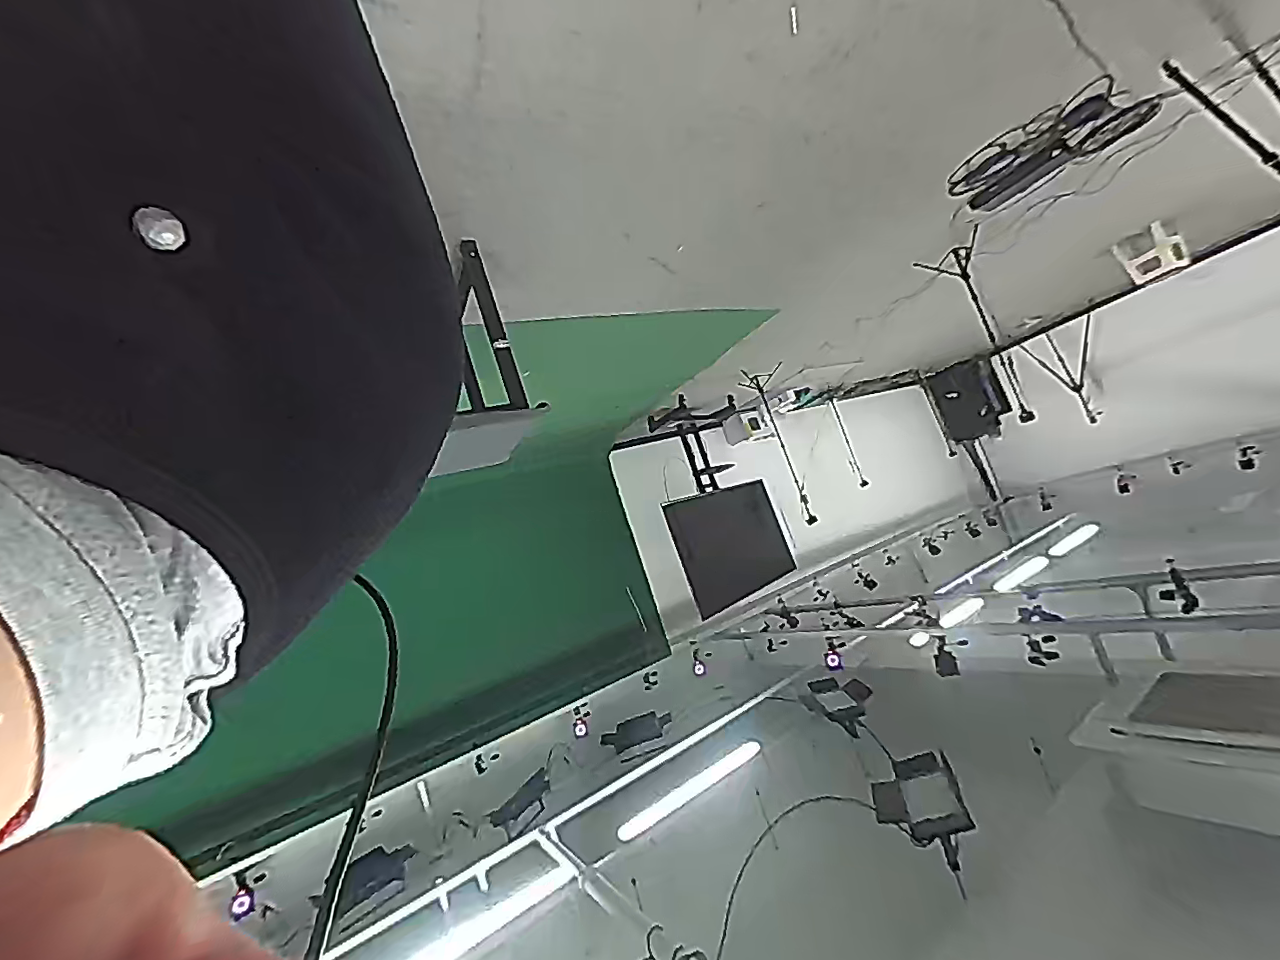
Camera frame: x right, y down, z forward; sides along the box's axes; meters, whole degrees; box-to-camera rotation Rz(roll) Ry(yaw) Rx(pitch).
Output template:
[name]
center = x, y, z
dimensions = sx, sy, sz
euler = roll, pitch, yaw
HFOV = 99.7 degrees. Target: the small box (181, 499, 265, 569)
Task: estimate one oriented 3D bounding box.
[small box]
center = -1.340, 0.169, 1.743
dimensions = 0.179, 0.176, 0.168
euler = -15, 171, -35
